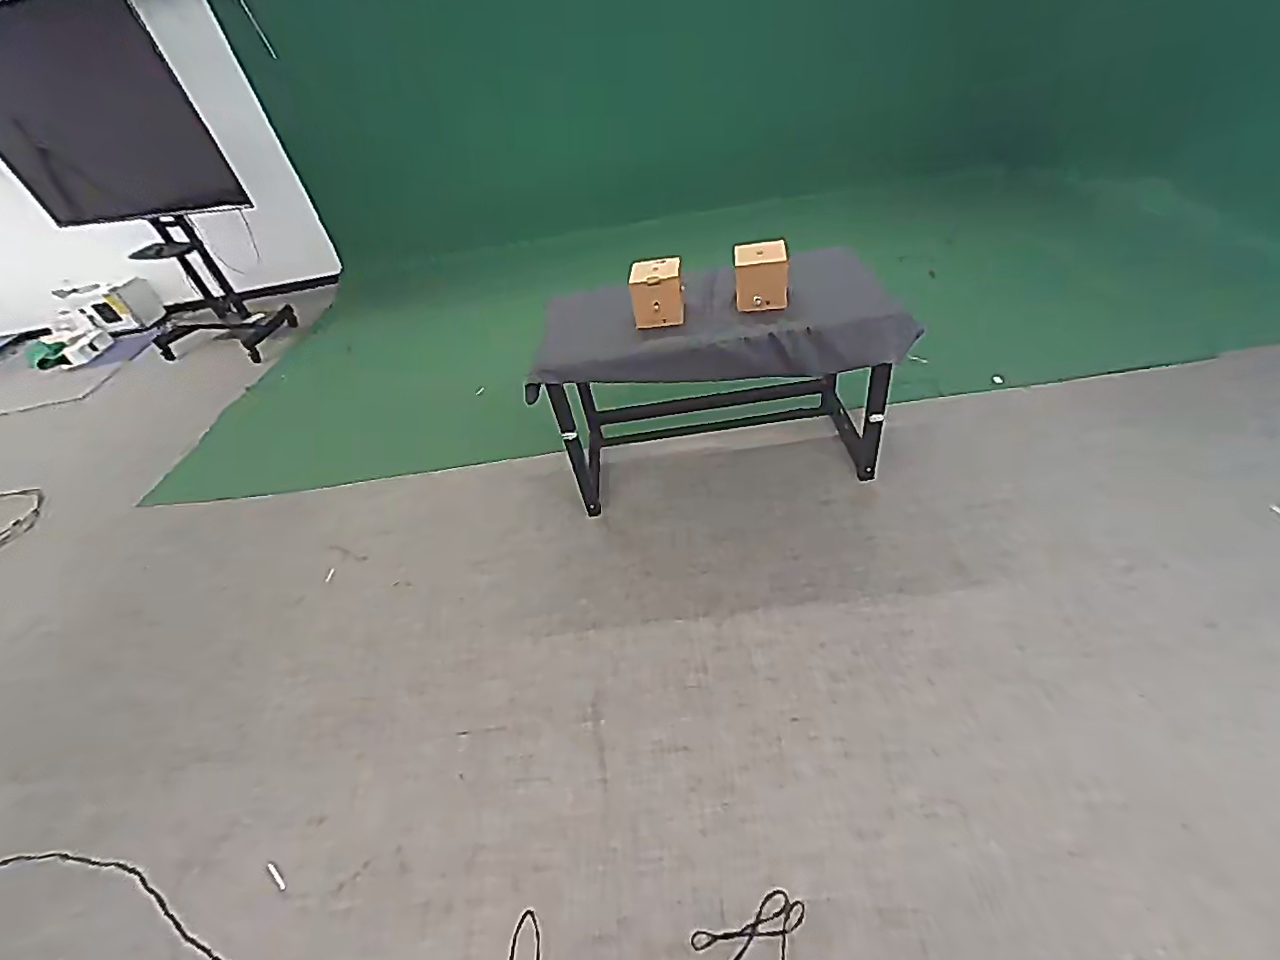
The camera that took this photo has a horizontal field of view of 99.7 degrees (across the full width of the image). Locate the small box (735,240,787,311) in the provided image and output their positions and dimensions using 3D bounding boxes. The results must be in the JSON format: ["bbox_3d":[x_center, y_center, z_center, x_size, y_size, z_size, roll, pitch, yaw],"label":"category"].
[{"bbox_3d":[0.415,-0.696,1.847,0.168,0.176,0.179,-2,42,14],"label":"small box"}]

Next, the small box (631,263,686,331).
[{"bbox_3d":[0.069,-0.633,1.891,0.168,0.176,0.179,-6,41,9],"label":"small box"}]
